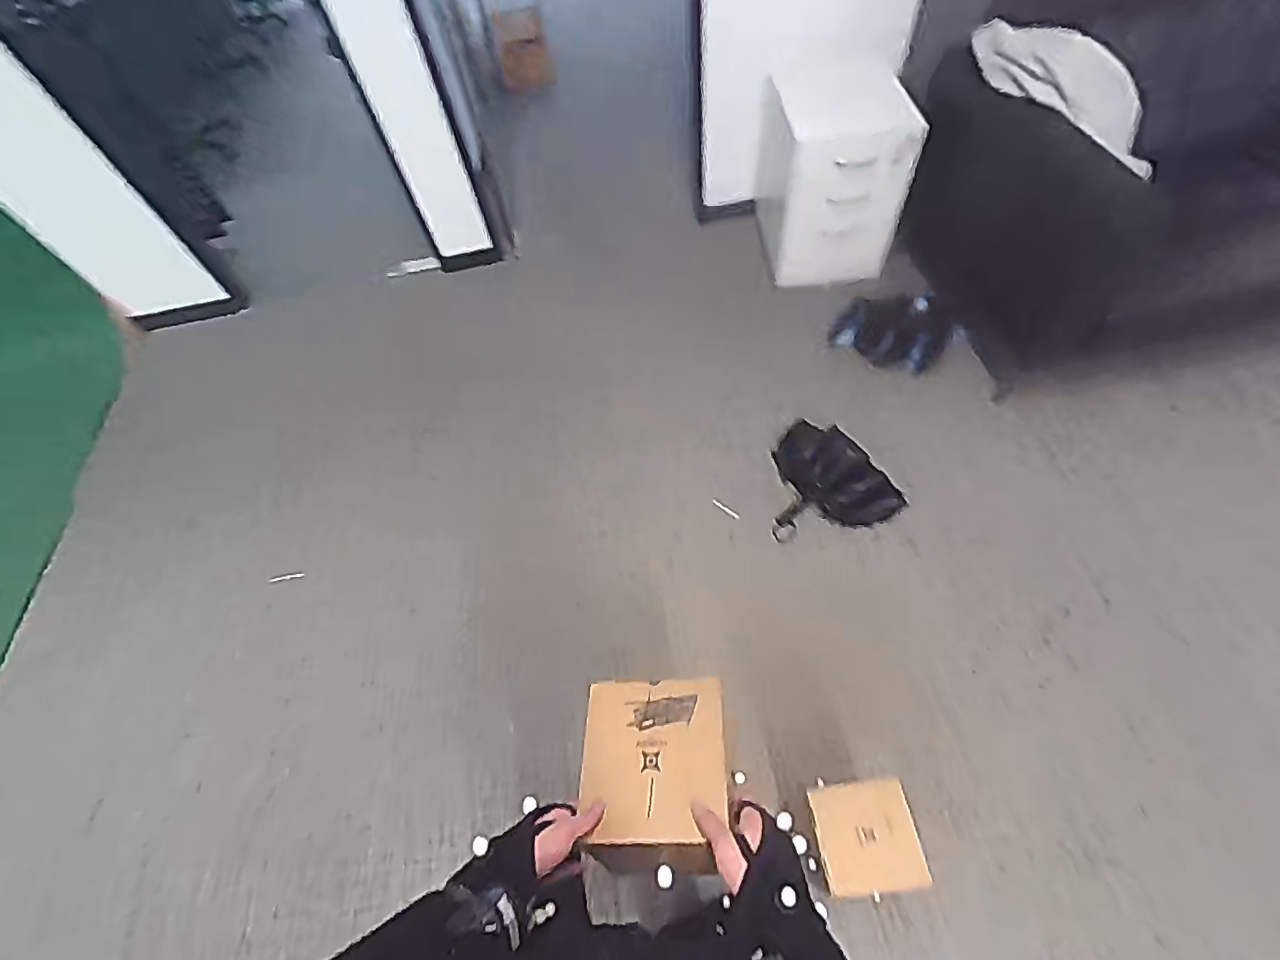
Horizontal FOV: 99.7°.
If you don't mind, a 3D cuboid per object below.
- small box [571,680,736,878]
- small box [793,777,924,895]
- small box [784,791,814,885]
[{"bbox_3d":[0.024,0.373,0.674,0.168,0.176,0.179,-9,44,10],"label":"small box"},{"bbox_3d":[0.407,0.686,1.049,0.179,0.176,0.168,-9,58,-1],"label":"small box"},{"bbox_3d":[0.423,0.773,1.186,0.179,0.176,0.168,-9,57,1],"label":"small box"}]
